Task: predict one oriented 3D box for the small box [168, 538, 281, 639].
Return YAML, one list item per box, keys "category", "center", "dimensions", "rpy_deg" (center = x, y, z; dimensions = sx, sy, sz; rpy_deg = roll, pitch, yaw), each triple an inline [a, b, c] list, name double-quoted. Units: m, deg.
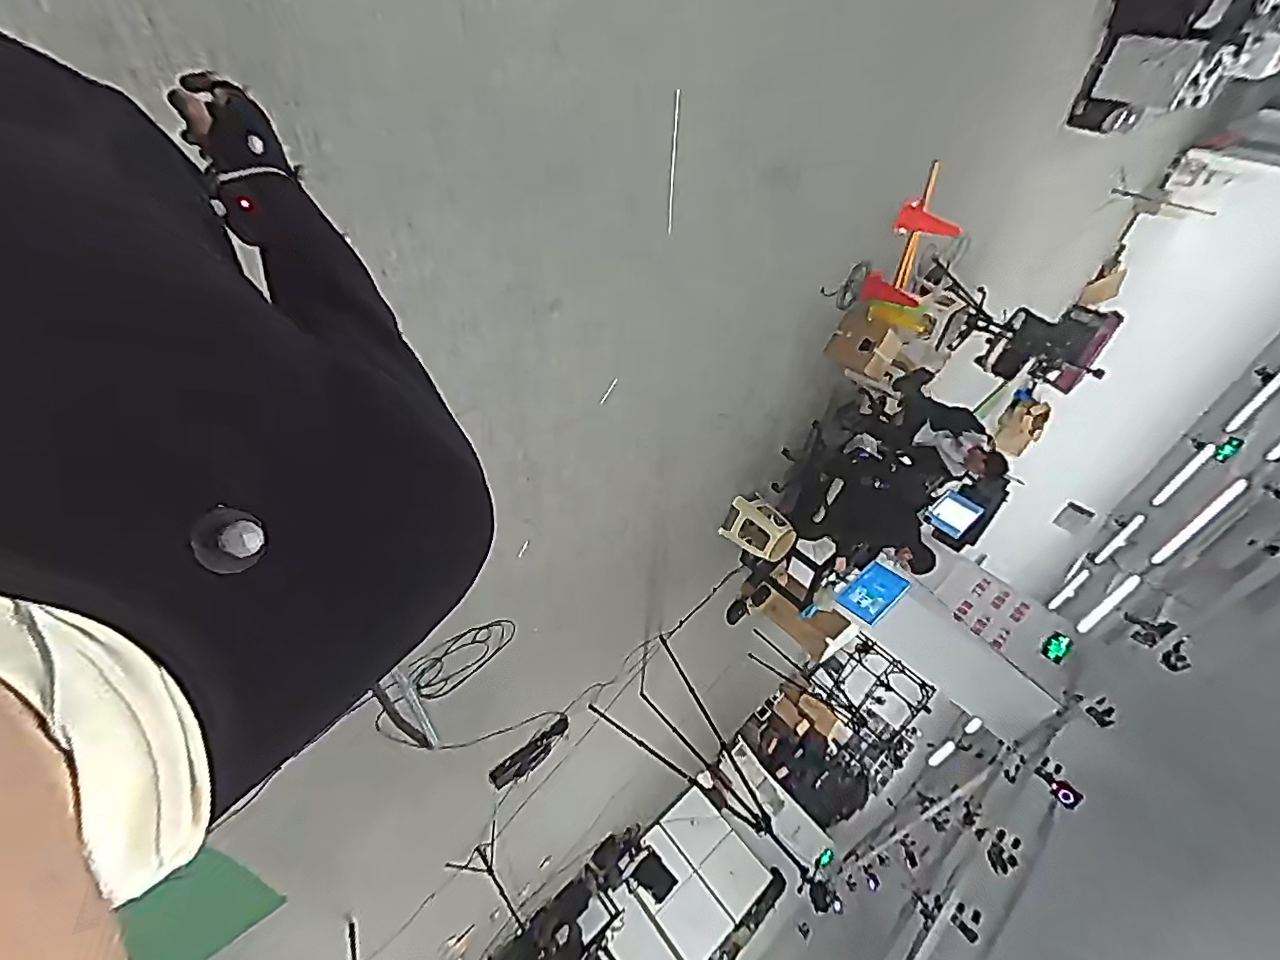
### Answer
- category: "small box"
  center: [-1.105, 0.278, 1.438]
  dimensions: [0.168, 0.176, 0.179]
  rpy_deg: [-31, 143, -28]
